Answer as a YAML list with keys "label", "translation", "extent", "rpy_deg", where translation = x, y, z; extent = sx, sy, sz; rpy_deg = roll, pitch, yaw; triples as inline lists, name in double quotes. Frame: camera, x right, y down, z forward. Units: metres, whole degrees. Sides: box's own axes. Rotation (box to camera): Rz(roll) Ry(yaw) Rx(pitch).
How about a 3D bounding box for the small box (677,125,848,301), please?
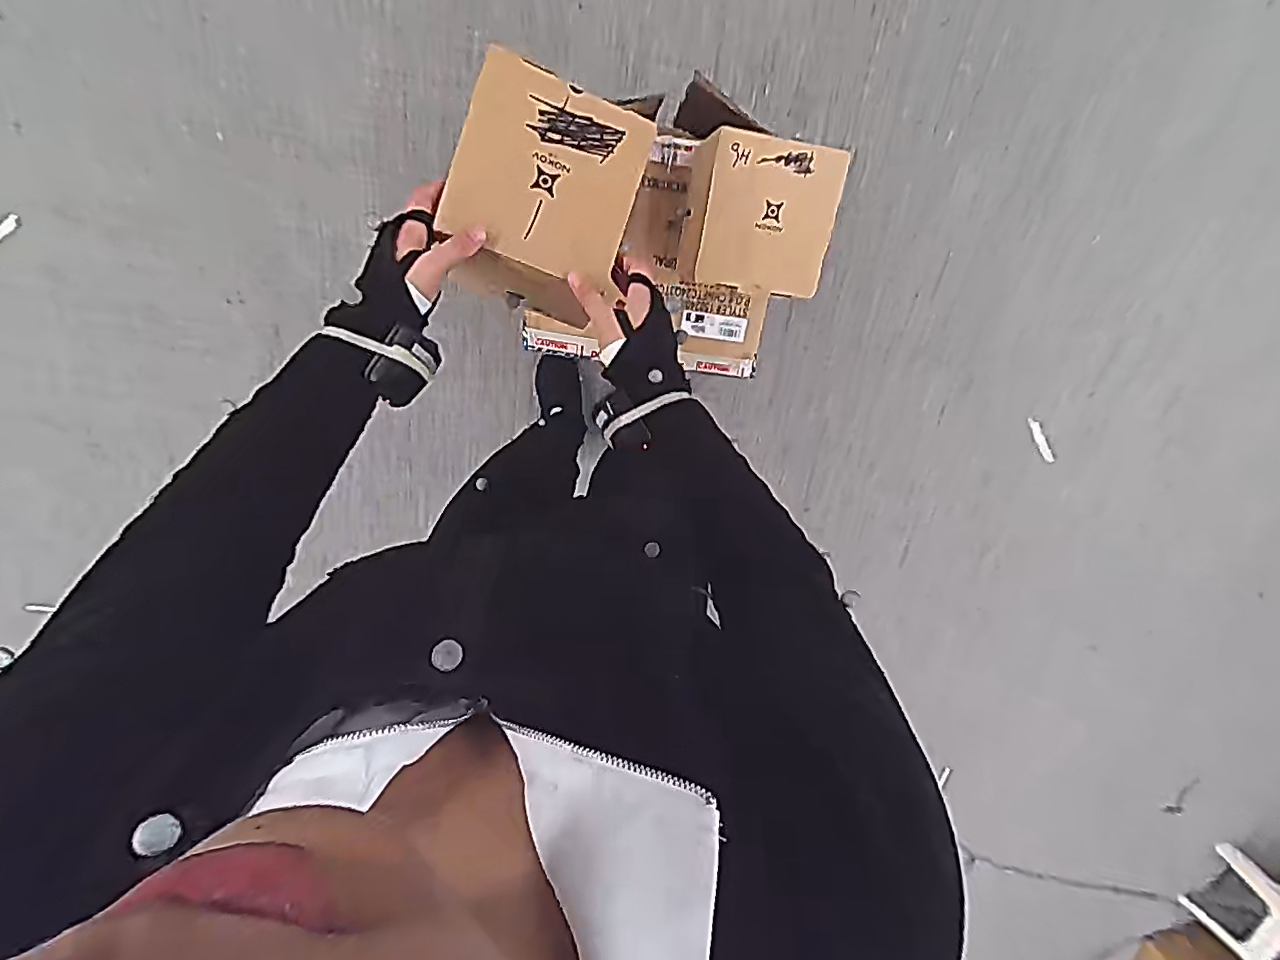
- label: "small box"
  translation: [0.151, -0.358, 0.743]
  extent: [0.168, 0.176, 0.179]
  rpy_deg: [6, 114, -8]

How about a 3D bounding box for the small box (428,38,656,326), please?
- label: "small box"
  translation: [-0.103, -0.284, 0.565]
  extent: [0.168, 0.176, 0.179]
  rpy_deg: [18, 90, -14]
